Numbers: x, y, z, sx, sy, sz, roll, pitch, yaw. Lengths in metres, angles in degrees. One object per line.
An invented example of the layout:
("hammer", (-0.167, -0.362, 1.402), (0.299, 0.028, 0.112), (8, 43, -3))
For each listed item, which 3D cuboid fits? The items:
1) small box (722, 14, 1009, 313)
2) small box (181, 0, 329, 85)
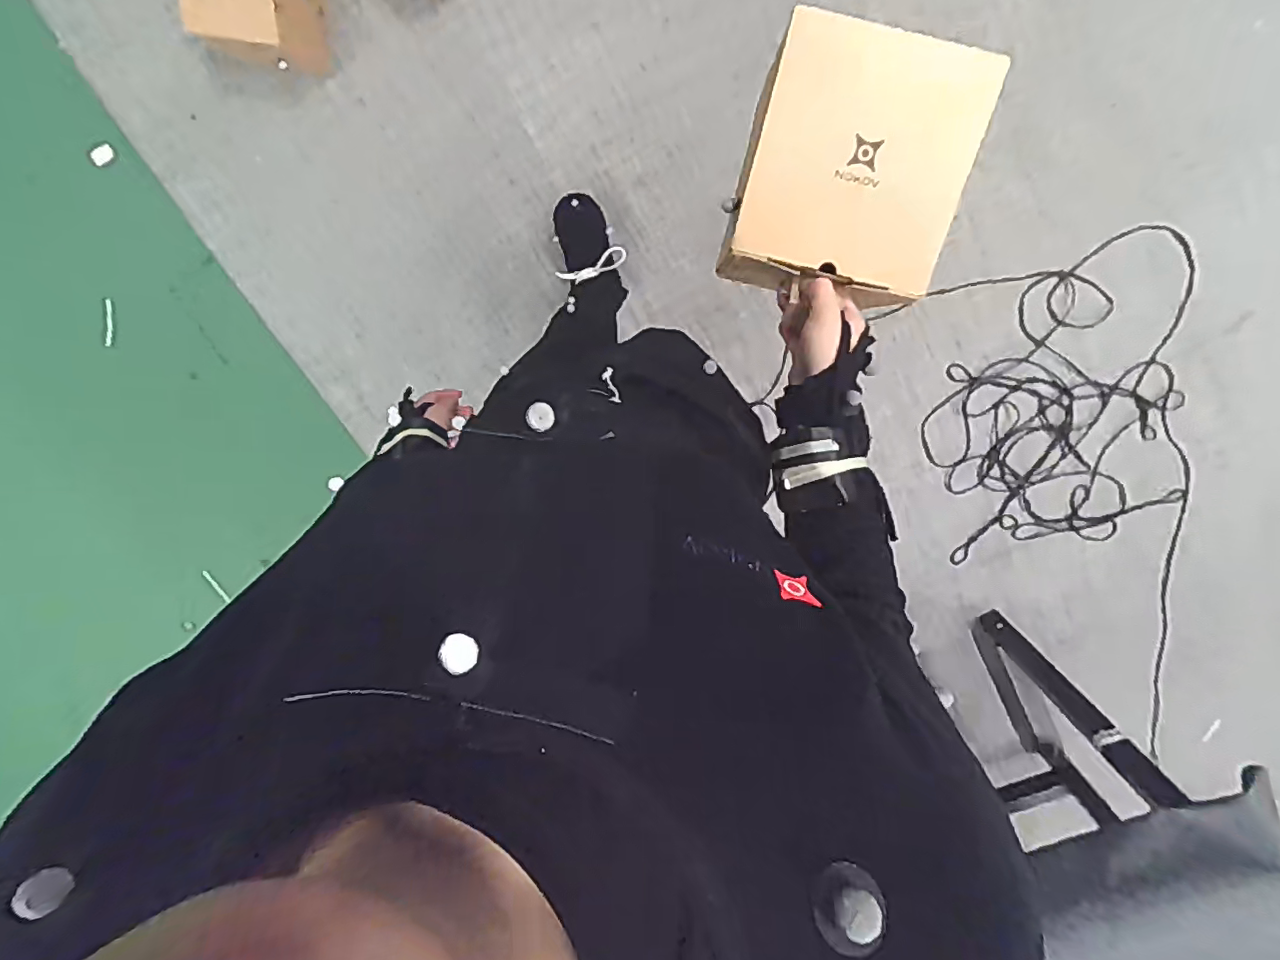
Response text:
("small box", (0.179, -0.262, 0.495), (0.168, 0.176, 0.179), (14, 105, 0))
("small box", (-0.711, -0.871, 1.014), (0.179, 0.176, 0.168), (7, 109, 1))
